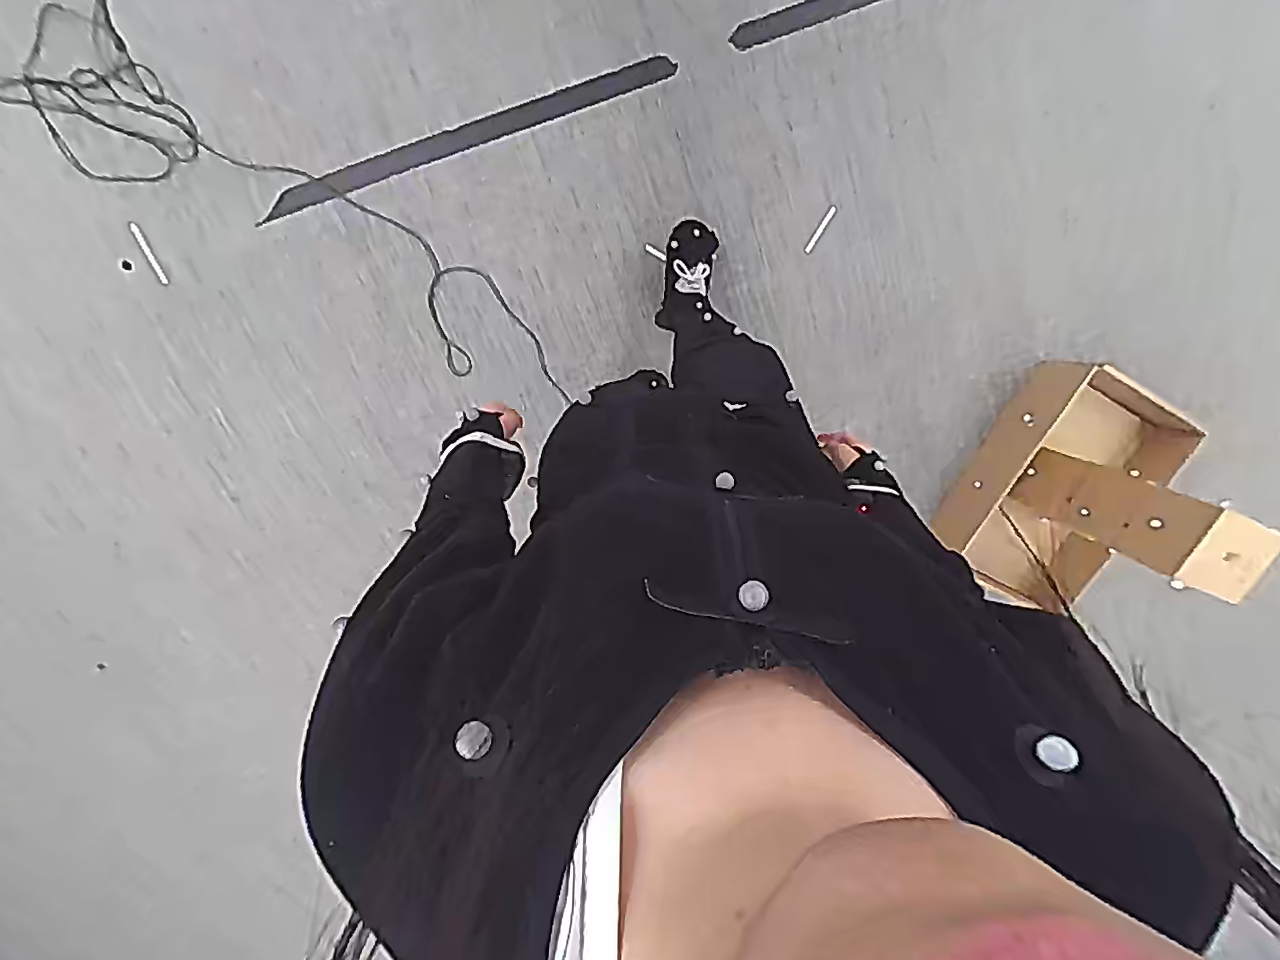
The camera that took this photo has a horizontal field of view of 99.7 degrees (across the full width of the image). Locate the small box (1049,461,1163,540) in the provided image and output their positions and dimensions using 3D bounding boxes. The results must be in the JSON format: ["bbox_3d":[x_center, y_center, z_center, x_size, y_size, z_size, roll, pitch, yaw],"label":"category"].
[{"bbox_3d":[1.164,0.067,1.321,0.179,0.176,0.168,20,107,-11],"label":"small box"}]

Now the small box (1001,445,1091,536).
[{"bbox_3d":[1.148,0.022,1.476,0.179,0.176,0.168,25,104,-11],"label":"small box"}]

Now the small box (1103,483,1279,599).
[{"bbox_3d":[1.170,0.123,1.165,0.179,0.176,0.168,21,107,-10],"label":"small box"}]
